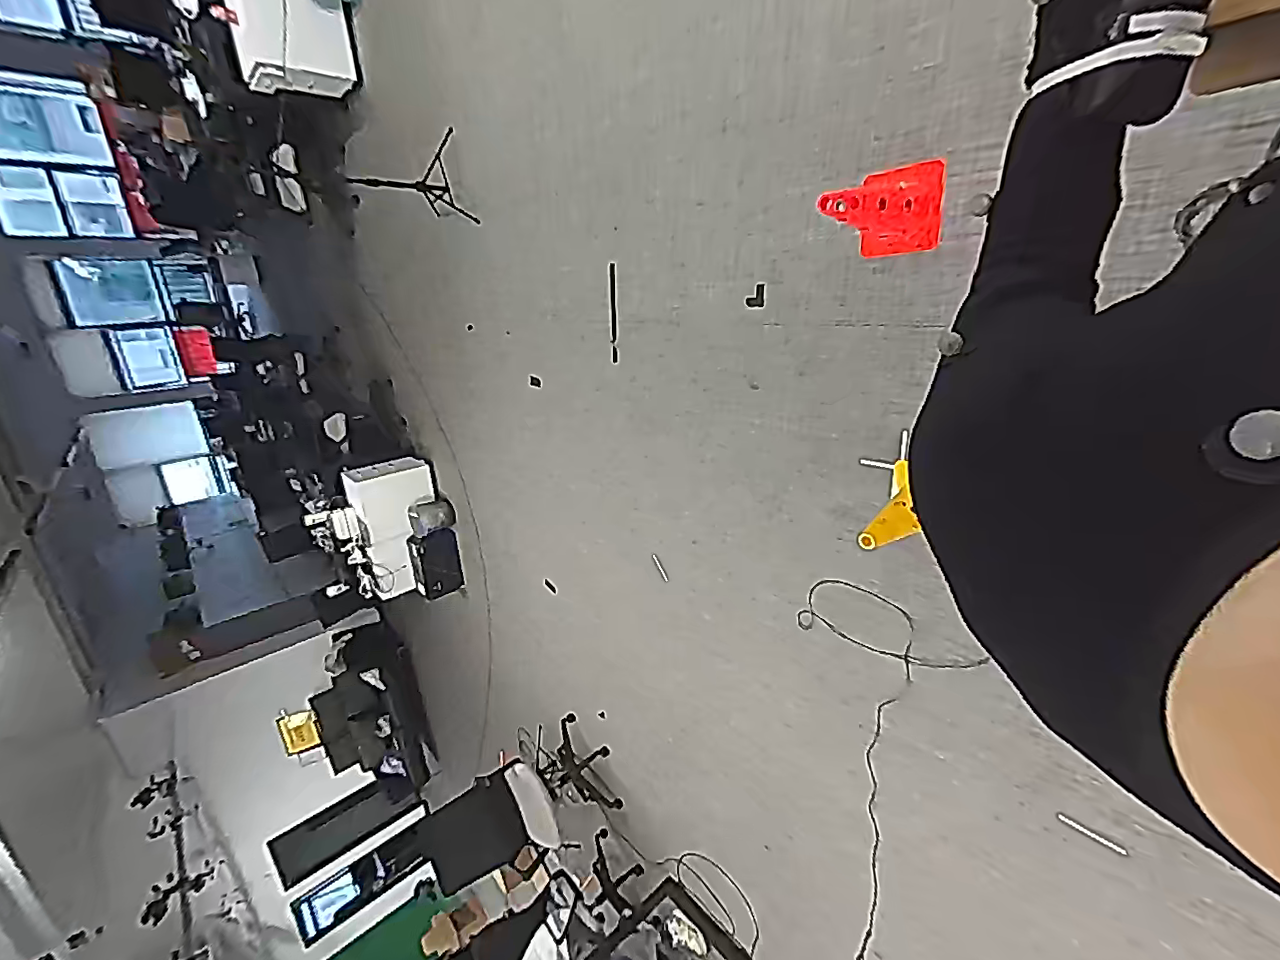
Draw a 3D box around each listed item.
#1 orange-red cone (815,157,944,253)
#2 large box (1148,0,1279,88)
[{"bbox_3d":[0.518,-0.632,1.243,0.198,0.360,0.199,17,119,47],"label":"orange-red cone"},{"bbox_3d":[0.561,-0.452,0.261,0.408,0.320,0.320,15,120,45],"label":"large box"}]
